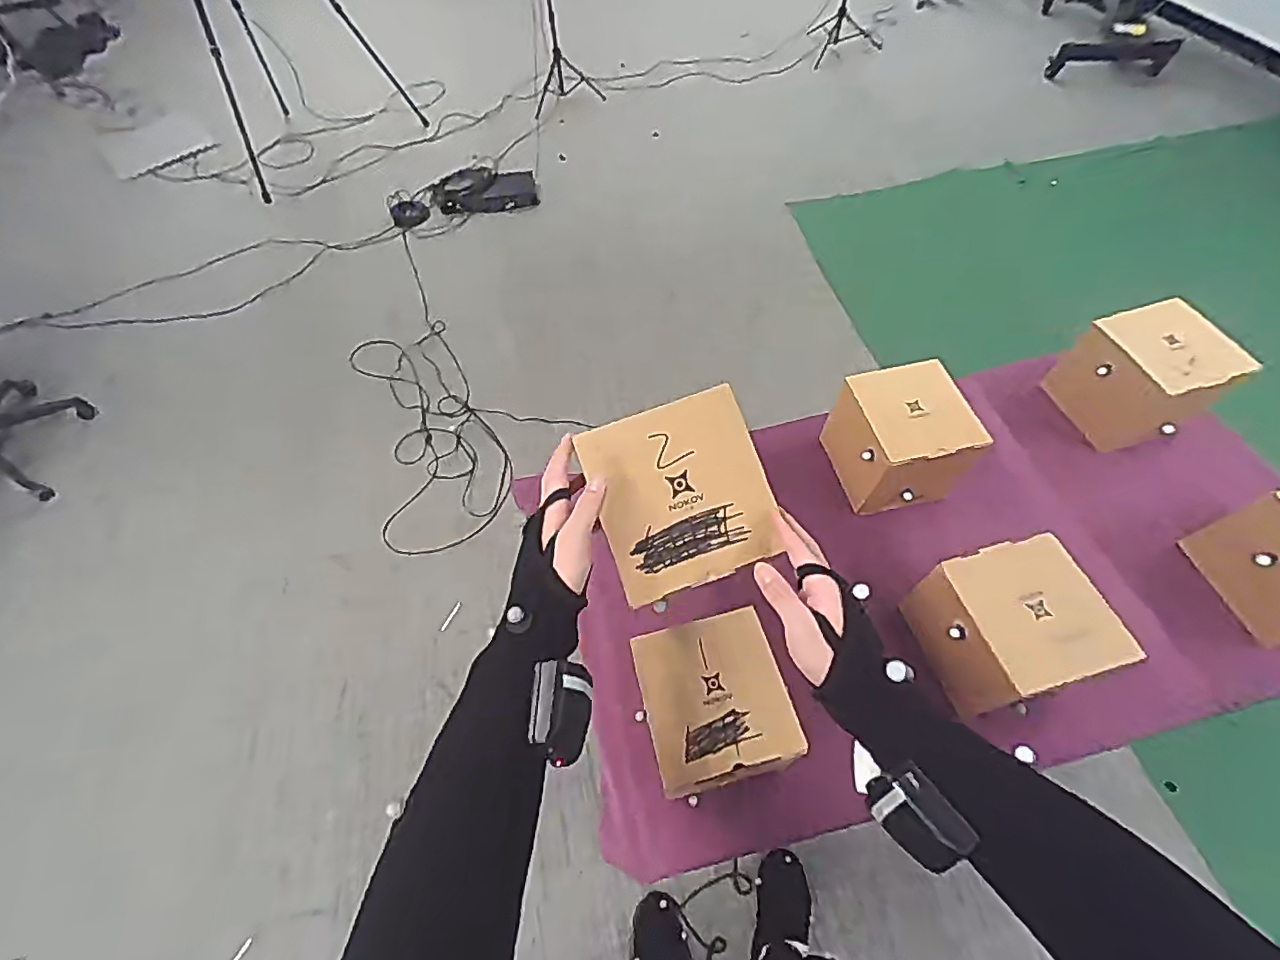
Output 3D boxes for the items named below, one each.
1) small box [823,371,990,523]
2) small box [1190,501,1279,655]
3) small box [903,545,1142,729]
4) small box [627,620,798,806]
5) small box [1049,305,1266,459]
[{"bbox_3d":[0.429,-0.052,0.909,0.168,0.176,0.179,-12,60,-3],"label":"small box"},{"bbox_3d":[0.952,0.126,0.750,0.168,0.176,0.179,-13,58,-2],"label":"small box"},{"bbox_3d":[0.493,0.217,0.735,0.168,0.176,0.179,-14,57,-3],"label":"small box"},{"bbox_3d":[0.088,0.310,0.708,0.168,0.176,0.179,-13,56,-4],"label":"small box"},{"bbox_3d":[0.871,-0.165,0.936,0.168,0.176,0.179,-16,59,-2],"label":"small box"}]
